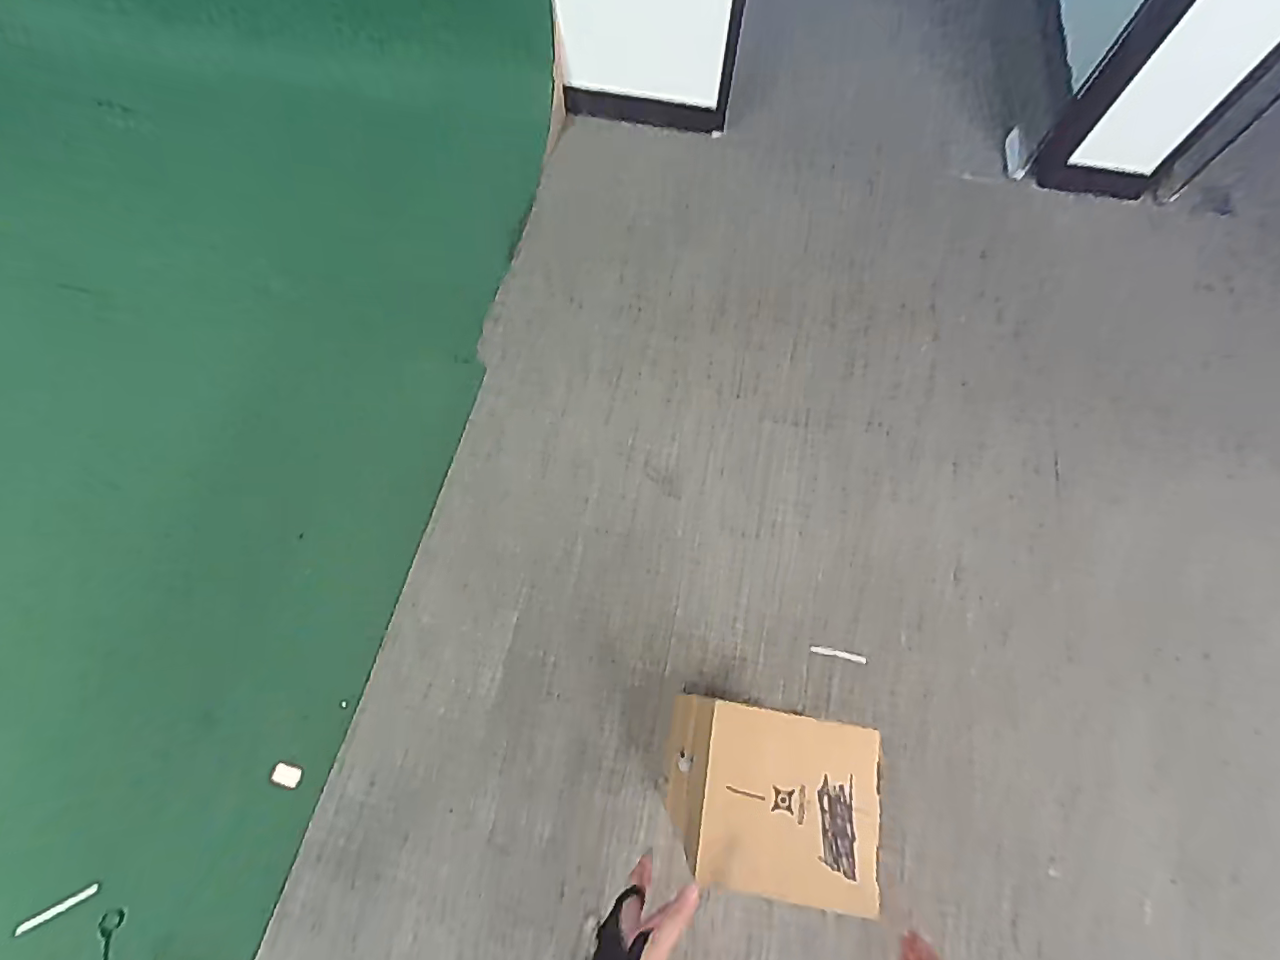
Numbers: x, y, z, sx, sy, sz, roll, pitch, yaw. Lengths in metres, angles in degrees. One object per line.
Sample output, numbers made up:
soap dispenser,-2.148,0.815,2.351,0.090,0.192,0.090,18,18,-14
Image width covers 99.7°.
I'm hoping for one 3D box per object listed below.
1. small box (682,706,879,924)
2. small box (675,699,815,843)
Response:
small box,0.149,0.358,0.614,0.179,0.176,0.168,9,68,4
small box,0.142,0.416,0.768,0.168,0.176,0.179,7,68,3
